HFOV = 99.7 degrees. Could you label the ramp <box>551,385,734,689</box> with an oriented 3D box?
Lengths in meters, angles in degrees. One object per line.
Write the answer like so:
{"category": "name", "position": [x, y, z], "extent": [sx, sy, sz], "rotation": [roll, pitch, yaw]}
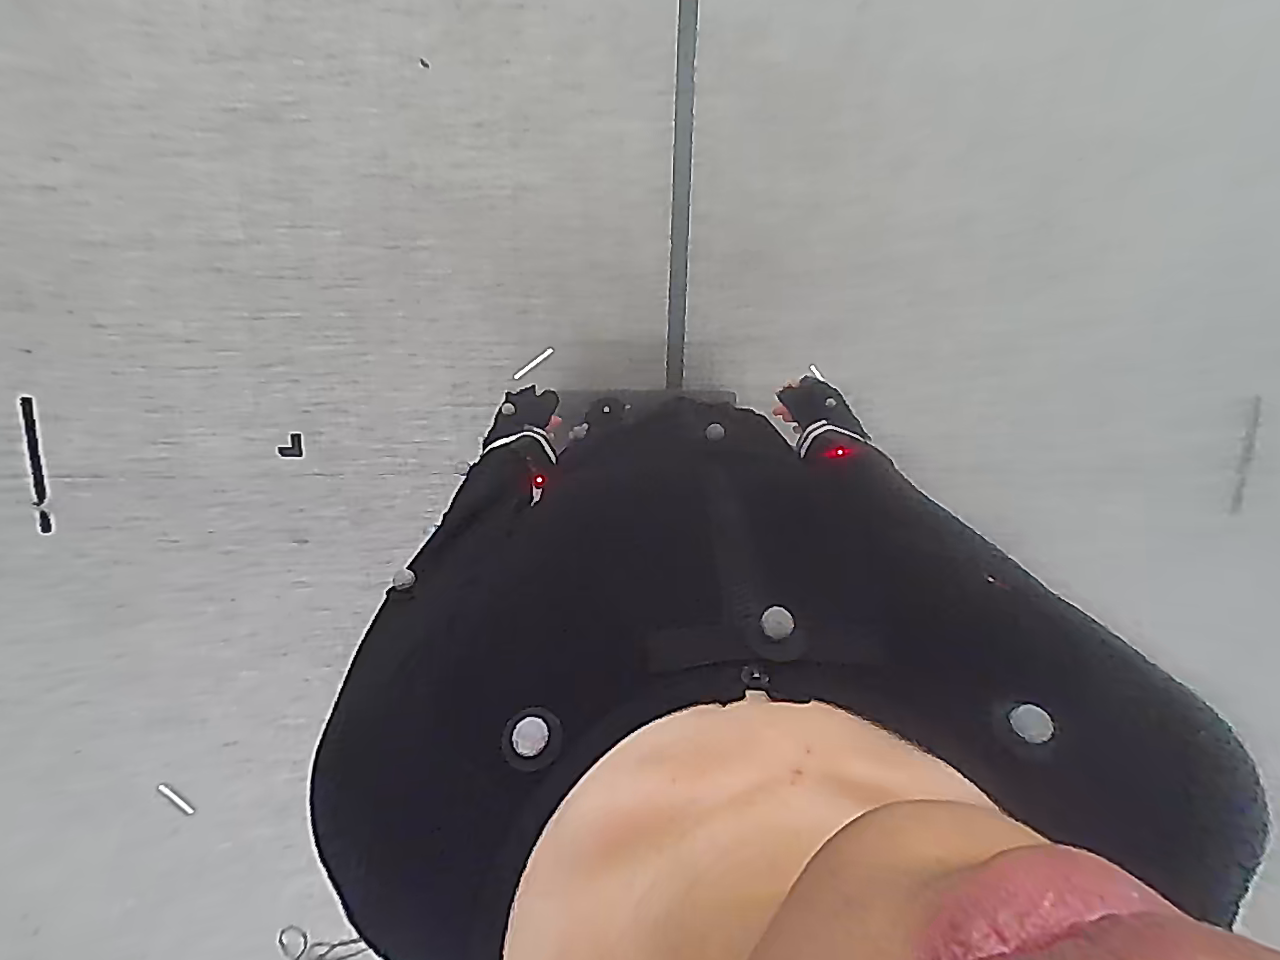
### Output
{"category": "ramp", "position": [0.006, 0.214, 1.603], "extent": [0.509, 0.206, 0.991], "rotation": [-2, 101, -3]}
